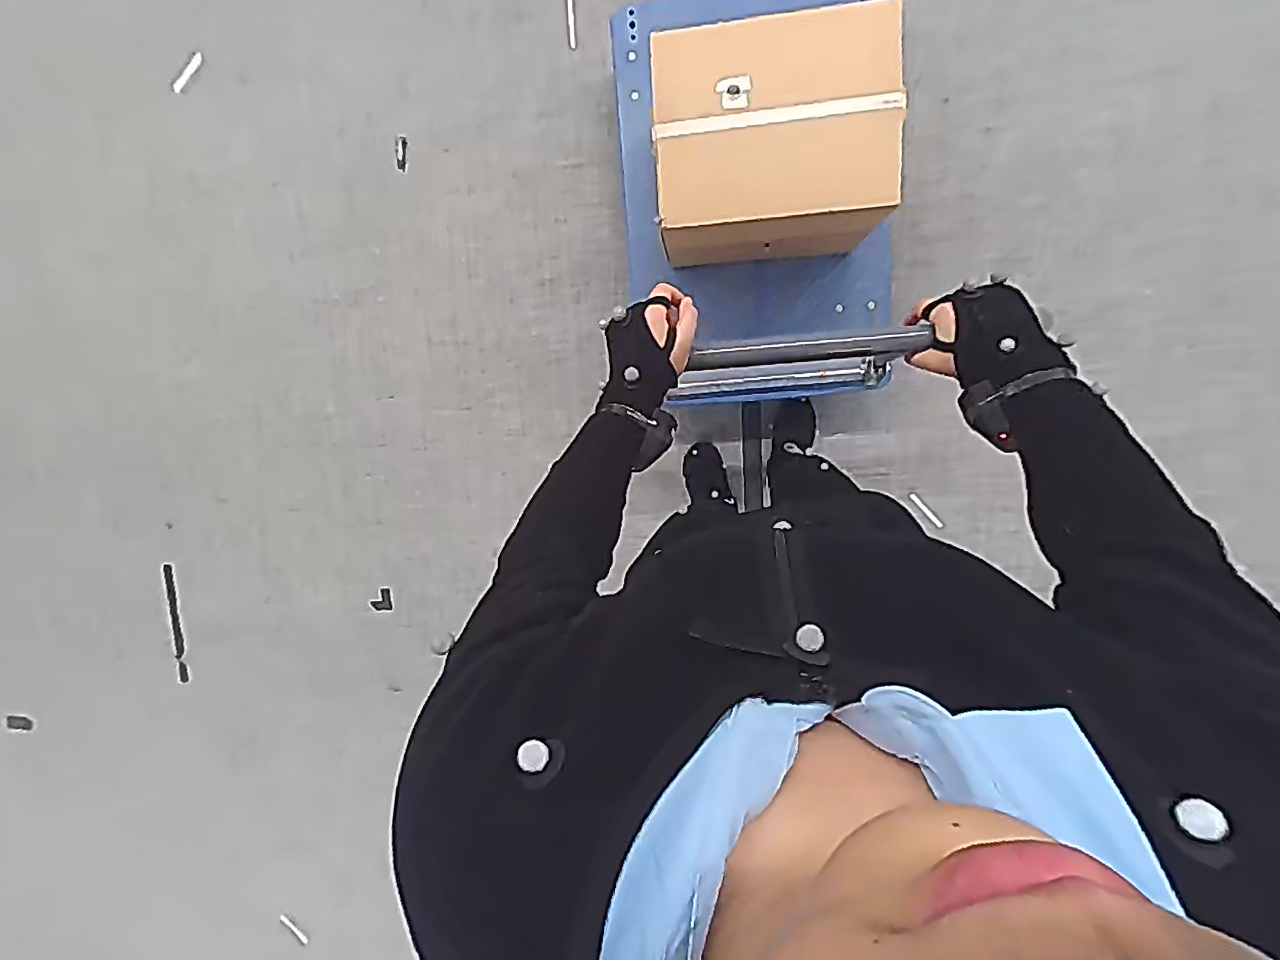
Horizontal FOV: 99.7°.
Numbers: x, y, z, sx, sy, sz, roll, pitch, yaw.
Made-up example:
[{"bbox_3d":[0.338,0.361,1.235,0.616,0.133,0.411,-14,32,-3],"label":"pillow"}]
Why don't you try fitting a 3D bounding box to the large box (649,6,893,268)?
[{"bbox_3d":[0.244,-0.631,1.071,0.408,0.320,0.320,-3,97,8],"label":"large box"}]
